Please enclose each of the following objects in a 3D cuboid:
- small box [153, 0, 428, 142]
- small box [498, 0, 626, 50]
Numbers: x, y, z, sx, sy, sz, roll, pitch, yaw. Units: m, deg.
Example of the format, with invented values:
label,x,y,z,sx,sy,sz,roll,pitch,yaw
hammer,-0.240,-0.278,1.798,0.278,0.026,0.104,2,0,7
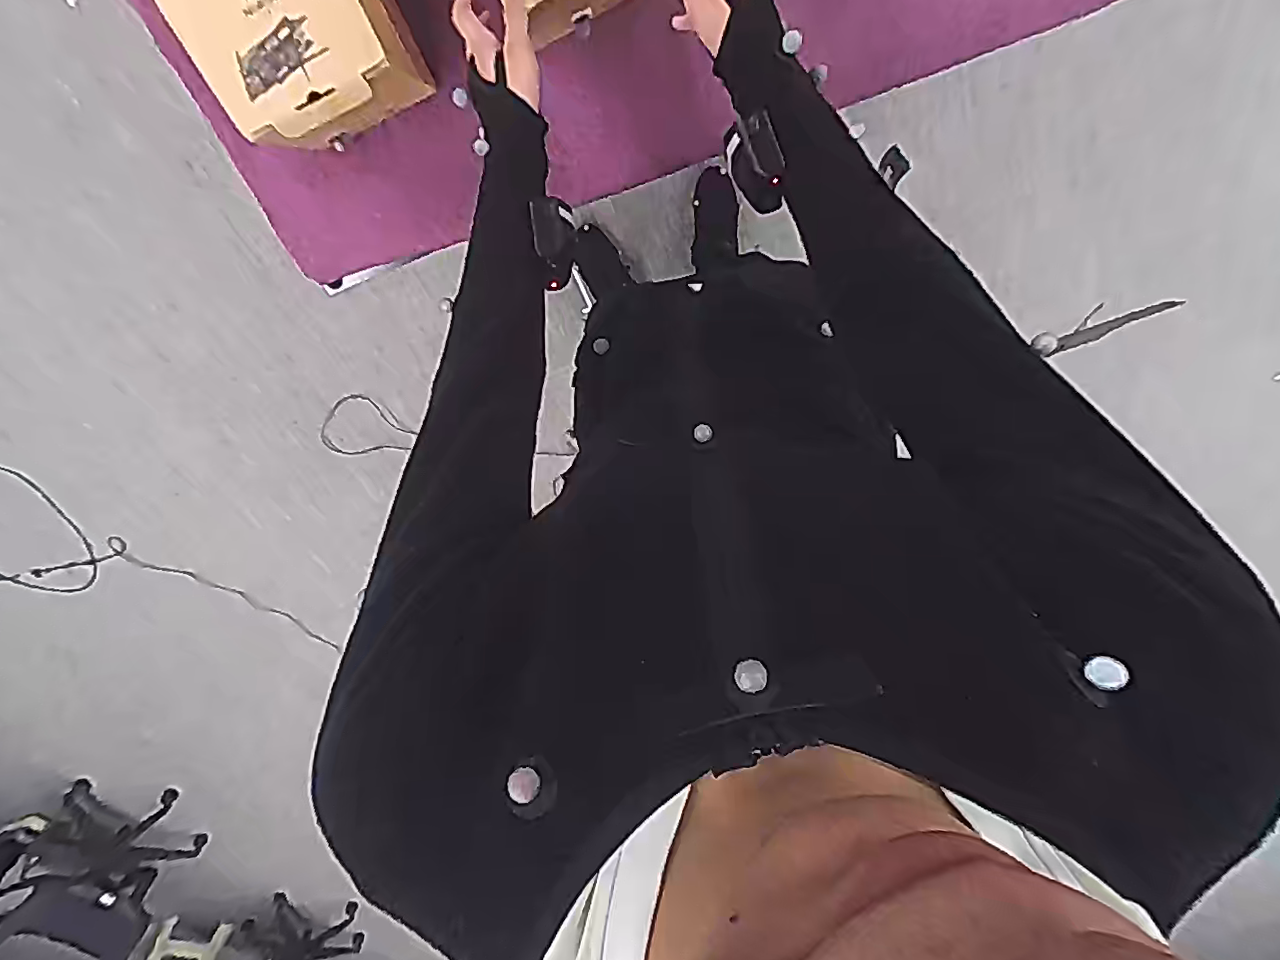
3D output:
label,x,y,z,sx,sy,sz,roll,pitch,yaw
small box,-0.346,-0.467,0.545,0.168,0.176,0.179,-22,117,8
small box,-0.090,-0.560,0.514,0.168,0.176,0.179,-24,118,10
